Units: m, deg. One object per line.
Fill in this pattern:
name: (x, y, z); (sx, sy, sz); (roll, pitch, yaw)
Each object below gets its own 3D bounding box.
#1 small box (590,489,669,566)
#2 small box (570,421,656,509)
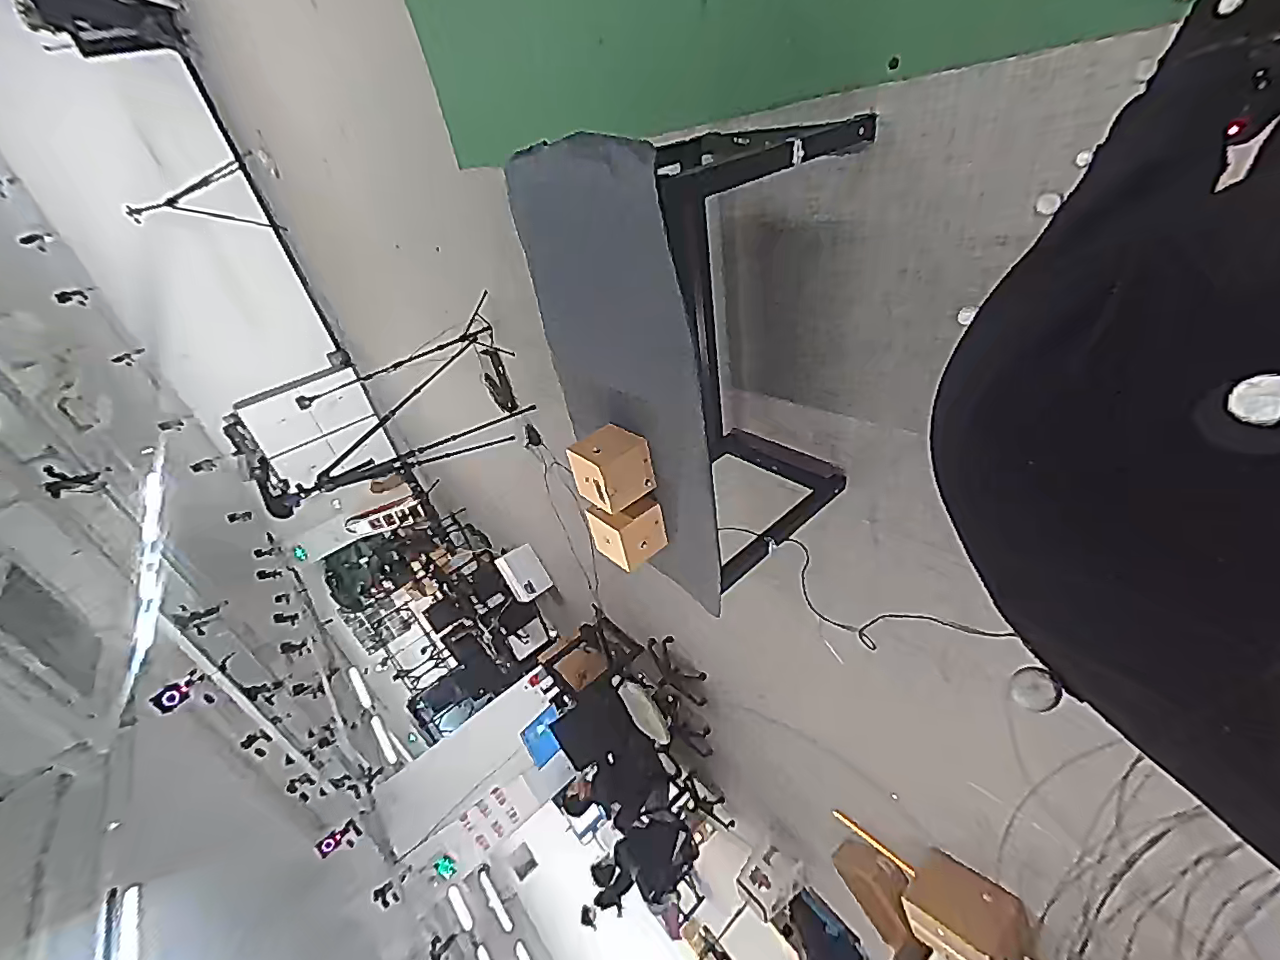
small box: (-0.024, 0.129, 1.684); (0.179, 0.176, 0.168); (28, 142, 45)
small box: (-0.069, -0.051, 1.559); (0.179, 0.176, 0.168); (29, 142, 45)
